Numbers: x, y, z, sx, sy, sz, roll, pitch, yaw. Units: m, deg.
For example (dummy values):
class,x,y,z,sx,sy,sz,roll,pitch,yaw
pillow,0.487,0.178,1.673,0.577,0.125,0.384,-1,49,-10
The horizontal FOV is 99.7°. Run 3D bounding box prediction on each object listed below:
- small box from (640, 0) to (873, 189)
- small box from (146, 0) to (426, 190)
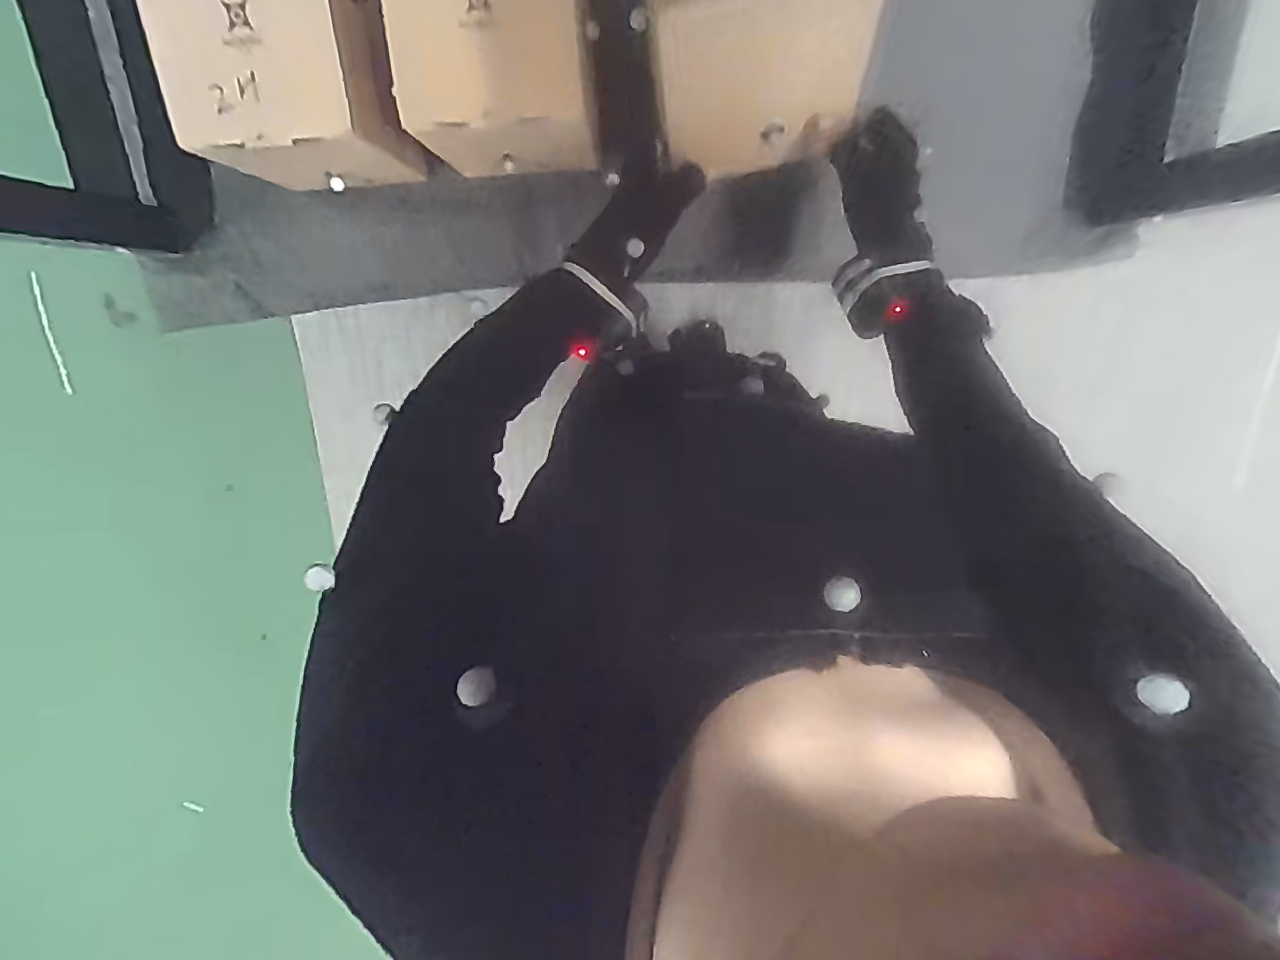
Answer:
class,x,y,z,sx,sy,sz,roll,pitch,yaw
small box,0.096,-0.413,0.496,0.179,0.176,0.168,-9,70,5
small box,-0.337,-0.411,0.542,0.168,0.176,0.179,-3,106,2
